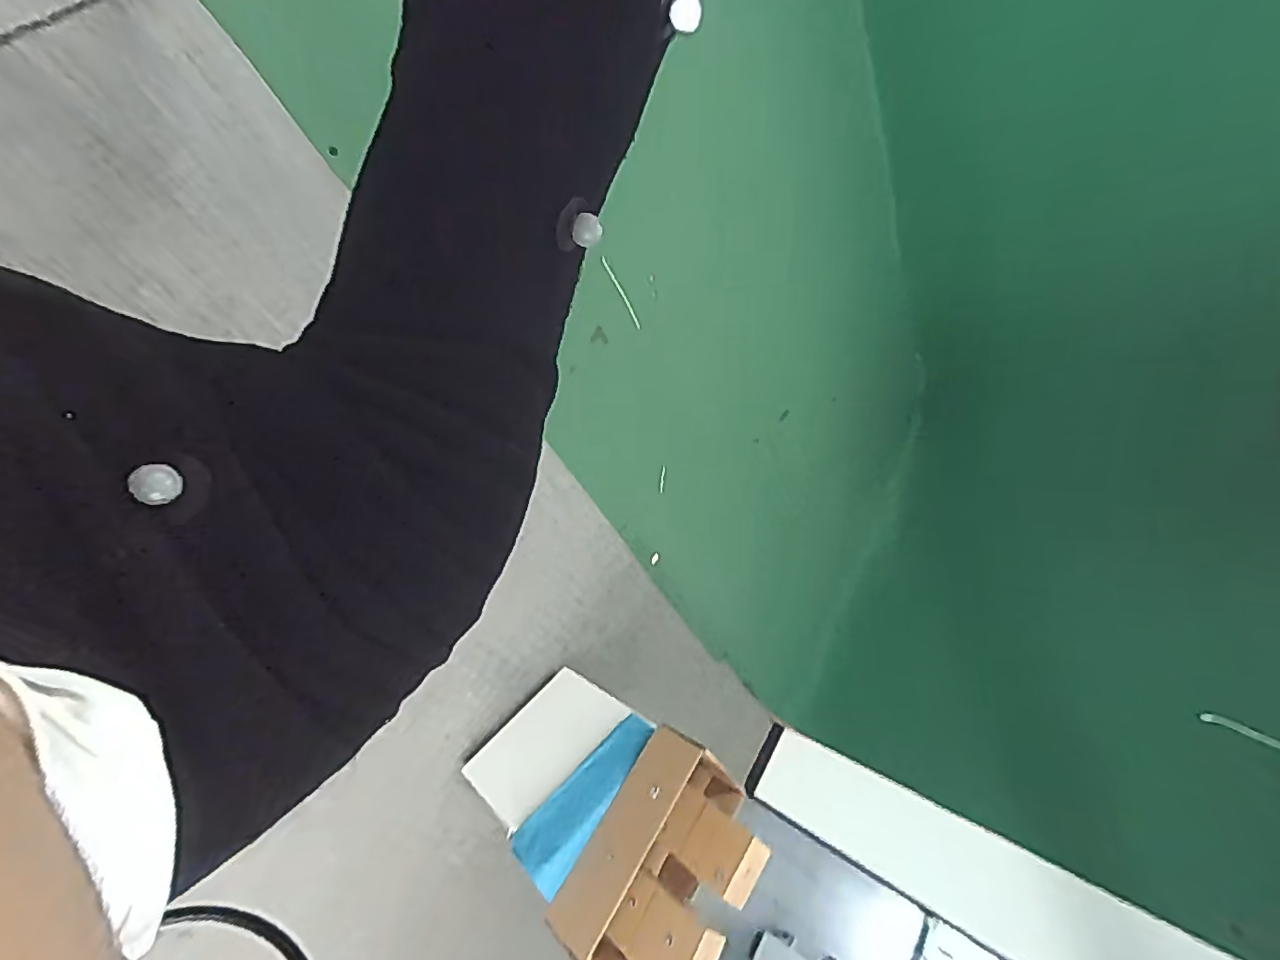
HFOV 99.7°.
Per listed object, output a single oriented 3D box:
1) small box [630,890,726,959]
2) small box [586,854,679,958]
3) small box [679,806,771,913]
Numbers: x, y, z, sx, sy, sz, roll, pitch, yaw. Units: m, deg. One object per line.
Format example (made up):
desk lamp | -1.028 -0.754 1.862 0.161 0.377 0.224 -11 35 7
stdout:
small box | 0.095 1.249 1.436 0.179 0.176 0.168 -53 132 -25
small box | -0.022 1.220 1.547 0.179 0.176 0.168 -52 131 -25
small box | 0.243 1.082 1.552 0.179 0.176 0.168 -50 130 -22
